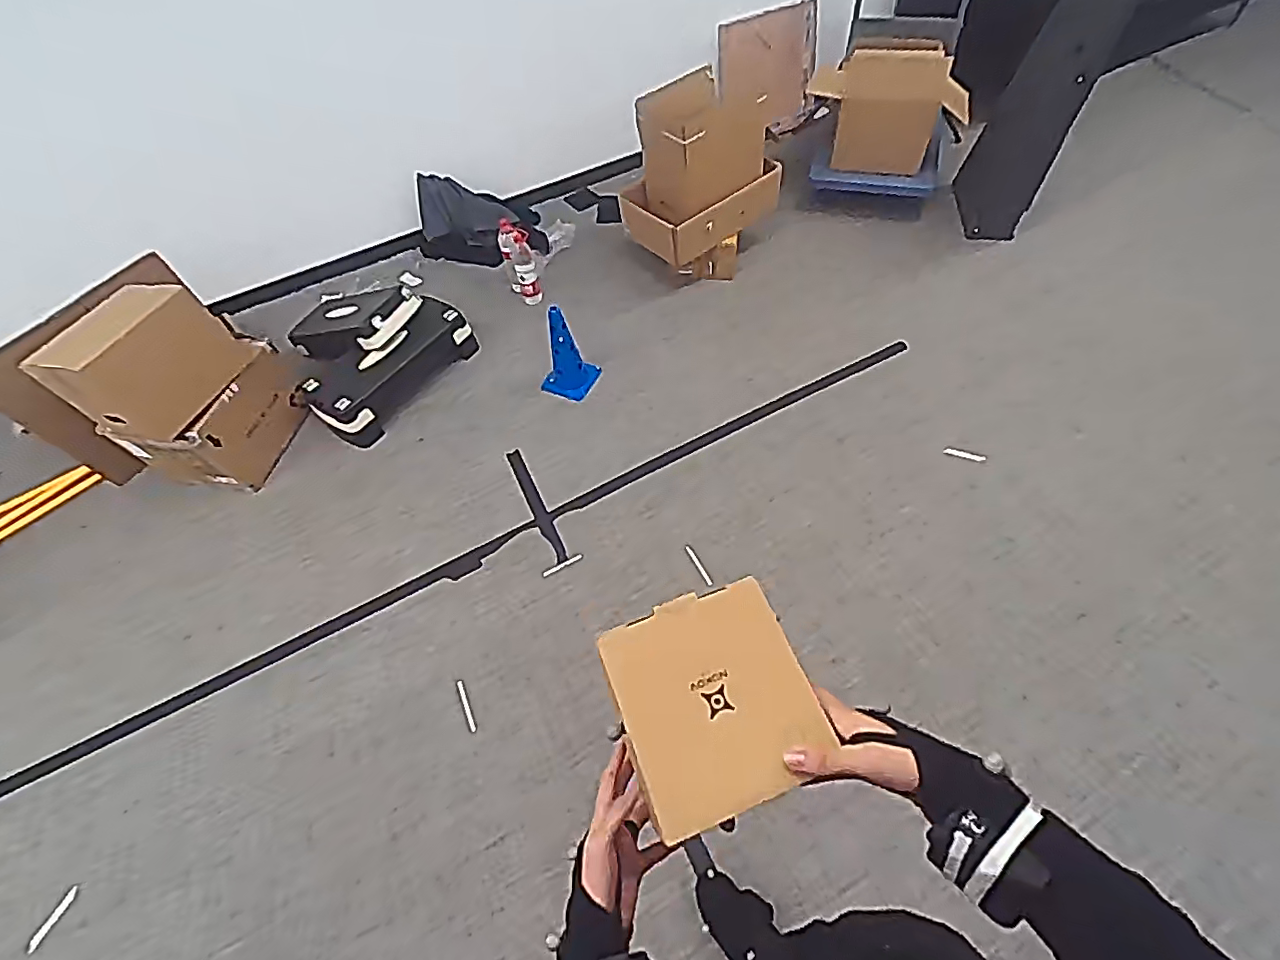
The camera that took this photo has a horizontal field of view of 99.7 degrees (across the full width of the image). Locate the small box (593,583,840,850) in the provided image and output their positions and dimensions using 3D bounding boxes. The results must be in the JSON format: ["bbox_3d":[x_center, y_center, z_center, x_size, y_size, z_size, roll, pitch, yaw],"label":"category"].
[{"bbox_3d":[0.062,0.232,0.541,0.168,0.176,0.179,-19,61,-11],"label":"small box"}]
